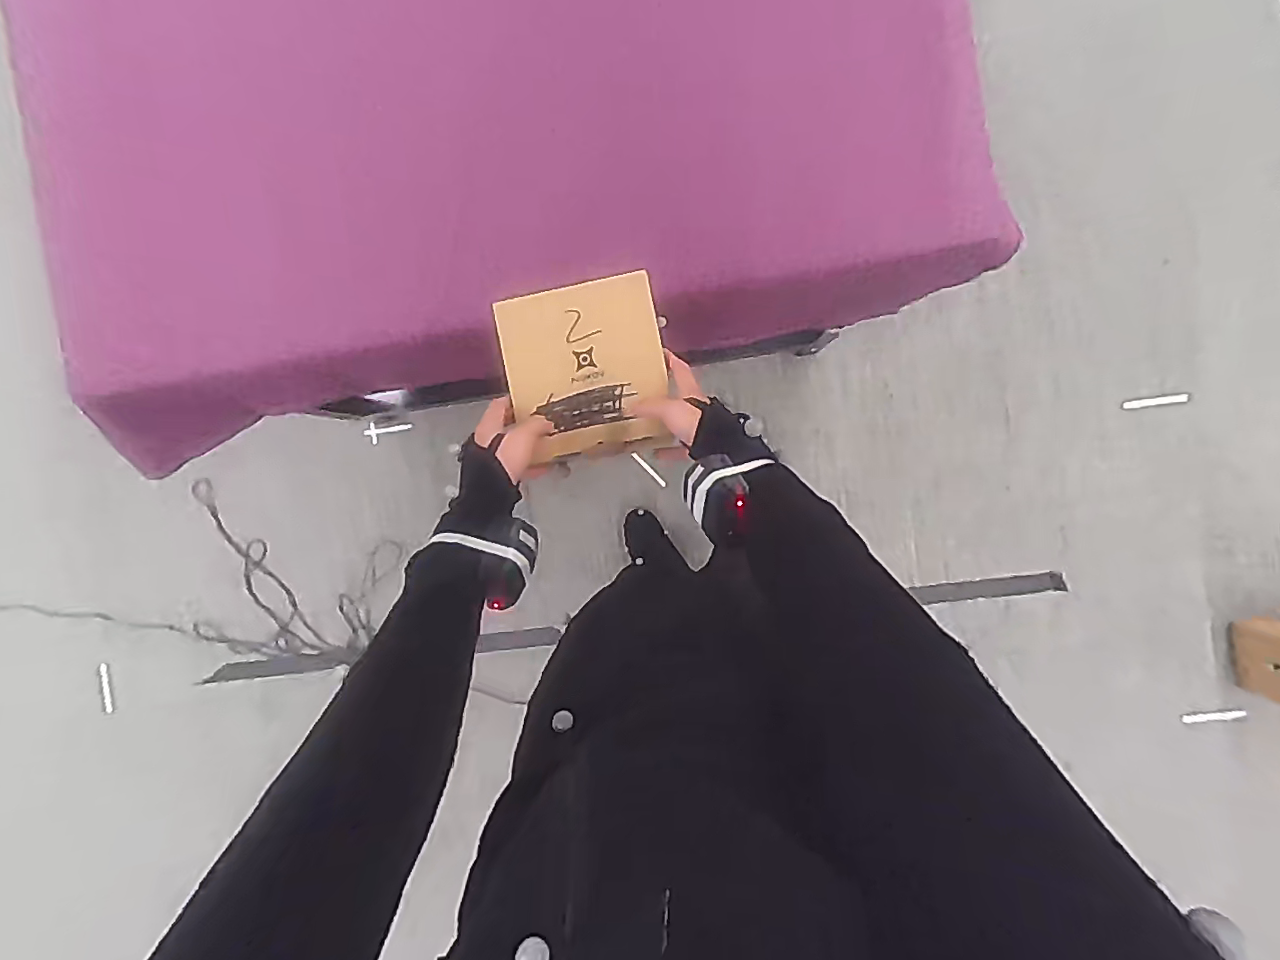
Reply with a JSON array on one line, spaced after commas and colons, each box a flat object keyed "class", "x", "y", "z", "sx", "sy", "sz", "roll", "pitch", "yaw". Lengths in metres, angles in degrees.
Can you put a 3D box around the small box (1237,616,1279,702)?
[{"class": "small box", "x": 1.550, "y": 0.423, "z": 1.242, "sx": 0.168, "sy": 0.176, "sz": 0.179, "roll": -10, "pitch": 91, "yaw": 4}]
